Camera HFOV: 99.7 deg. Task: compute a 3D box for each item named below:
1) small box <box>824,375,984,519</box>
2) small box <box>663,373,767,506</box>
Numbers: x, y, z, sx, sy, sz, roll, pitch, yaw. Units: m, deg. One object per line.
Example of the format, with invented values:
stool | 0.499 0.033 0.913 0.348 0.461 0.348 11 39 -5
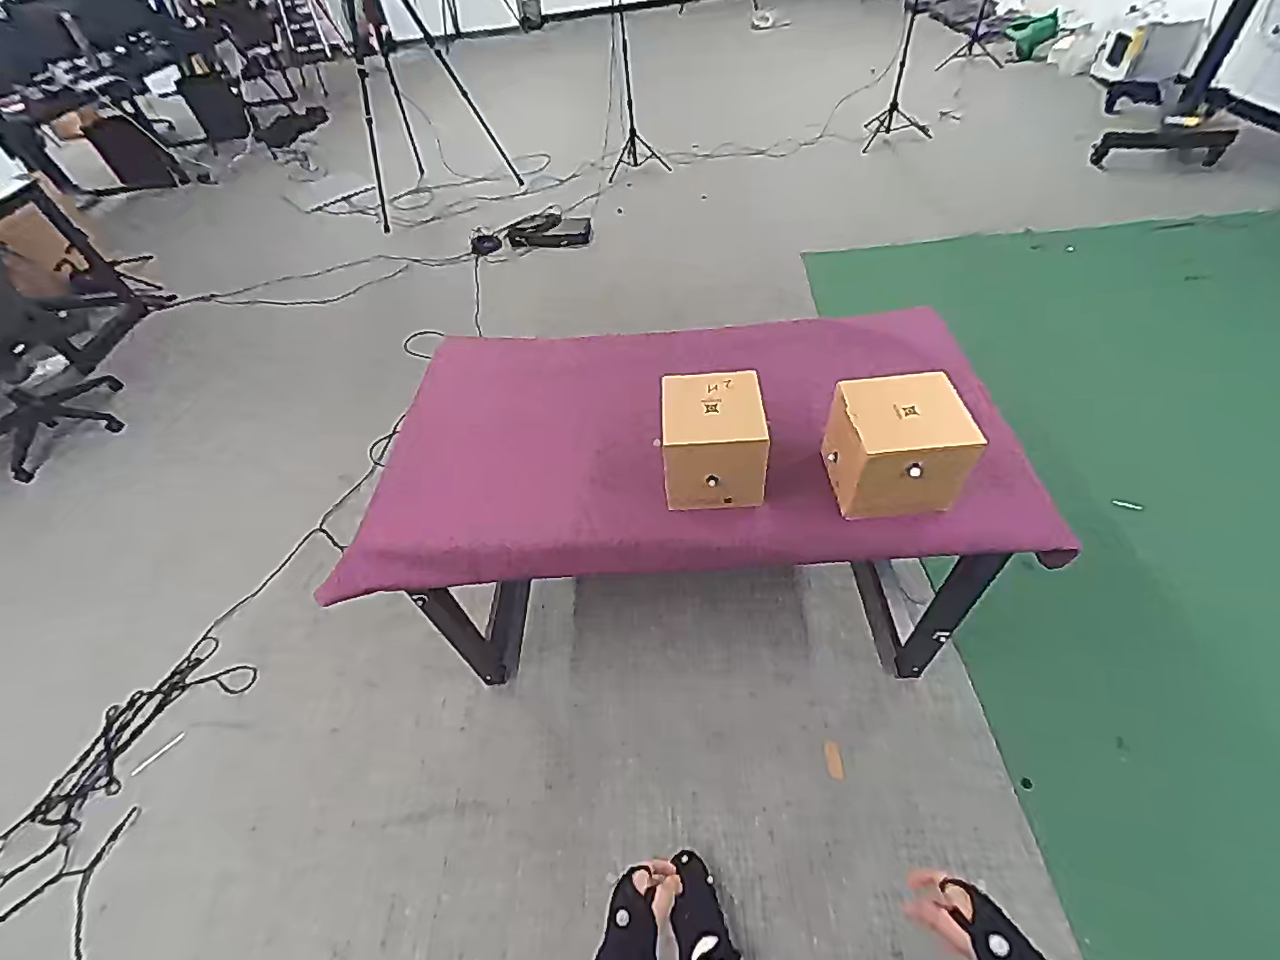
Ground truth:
small box | 0.425 -0.051 0.905 0.179 0.176 0.168 -6 50 4
small box | 0.130 -0.064 0.955 0.168 0.176 0.179 -2 48 5
